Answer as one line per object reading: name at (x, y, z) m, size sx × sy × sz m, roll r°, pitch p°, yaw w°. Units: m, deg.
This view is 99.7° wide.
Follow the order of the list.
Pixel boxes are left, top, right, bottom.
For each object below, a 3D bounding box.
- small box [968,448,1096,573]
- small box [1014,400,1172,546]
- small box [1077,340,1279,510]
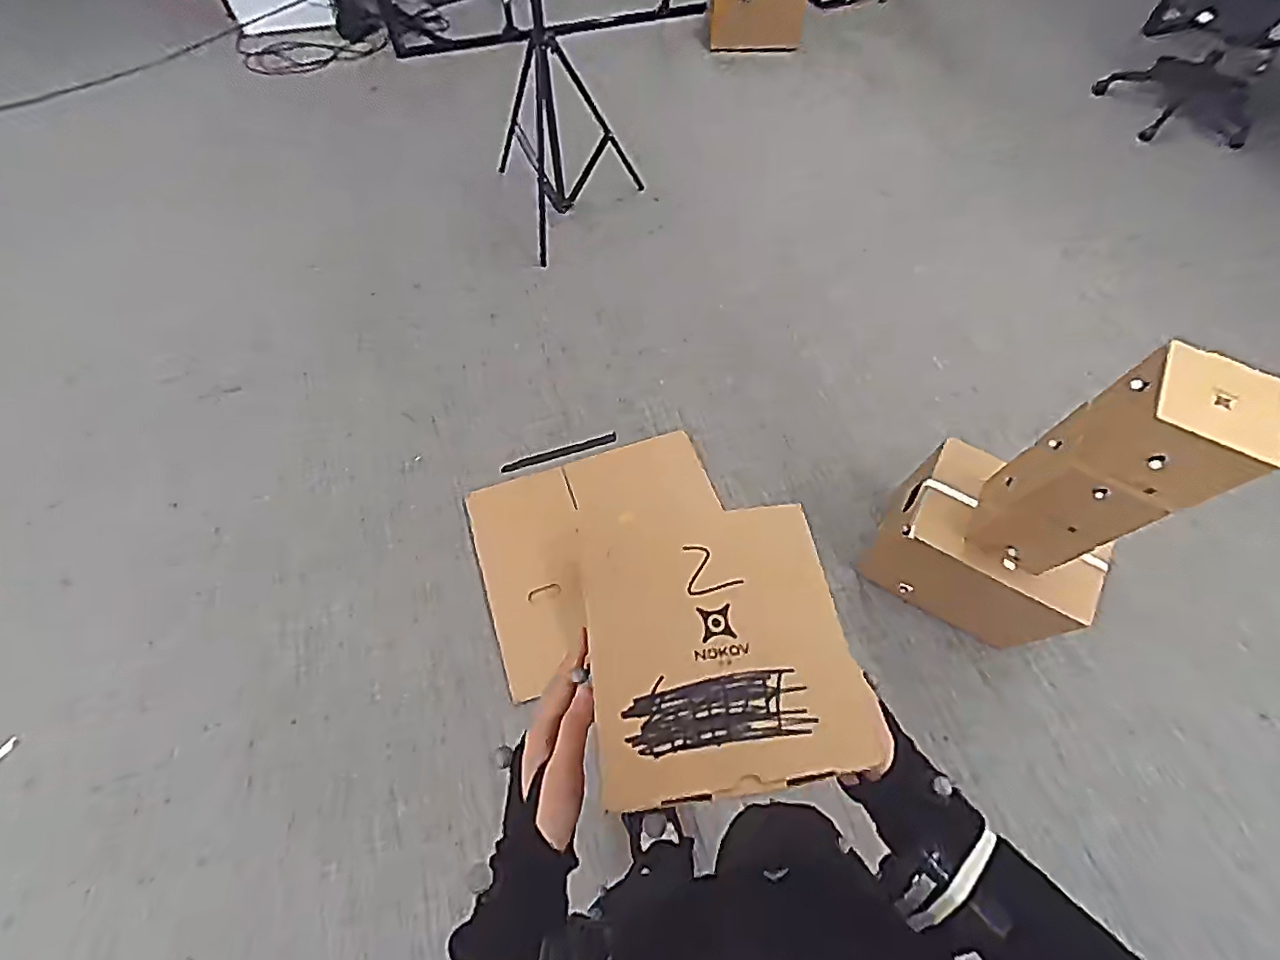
small box at (0.839, 0.070, 1.153) m, size 0.168 × 0.176 × 0.179 m, roll 28°, pitch 66°, yaw 13°
small box at (0.842, -0.009, 1.009) m, size 0.168 × 0.176 × 0.179 m, roll 28°, pitch 65°, yaw 13°
small box at (0.846, -0.080, 0.862) m, size 0.168 × 0.176 × 0.179 m, roll 28°, pitch 65°, yaw 13°
